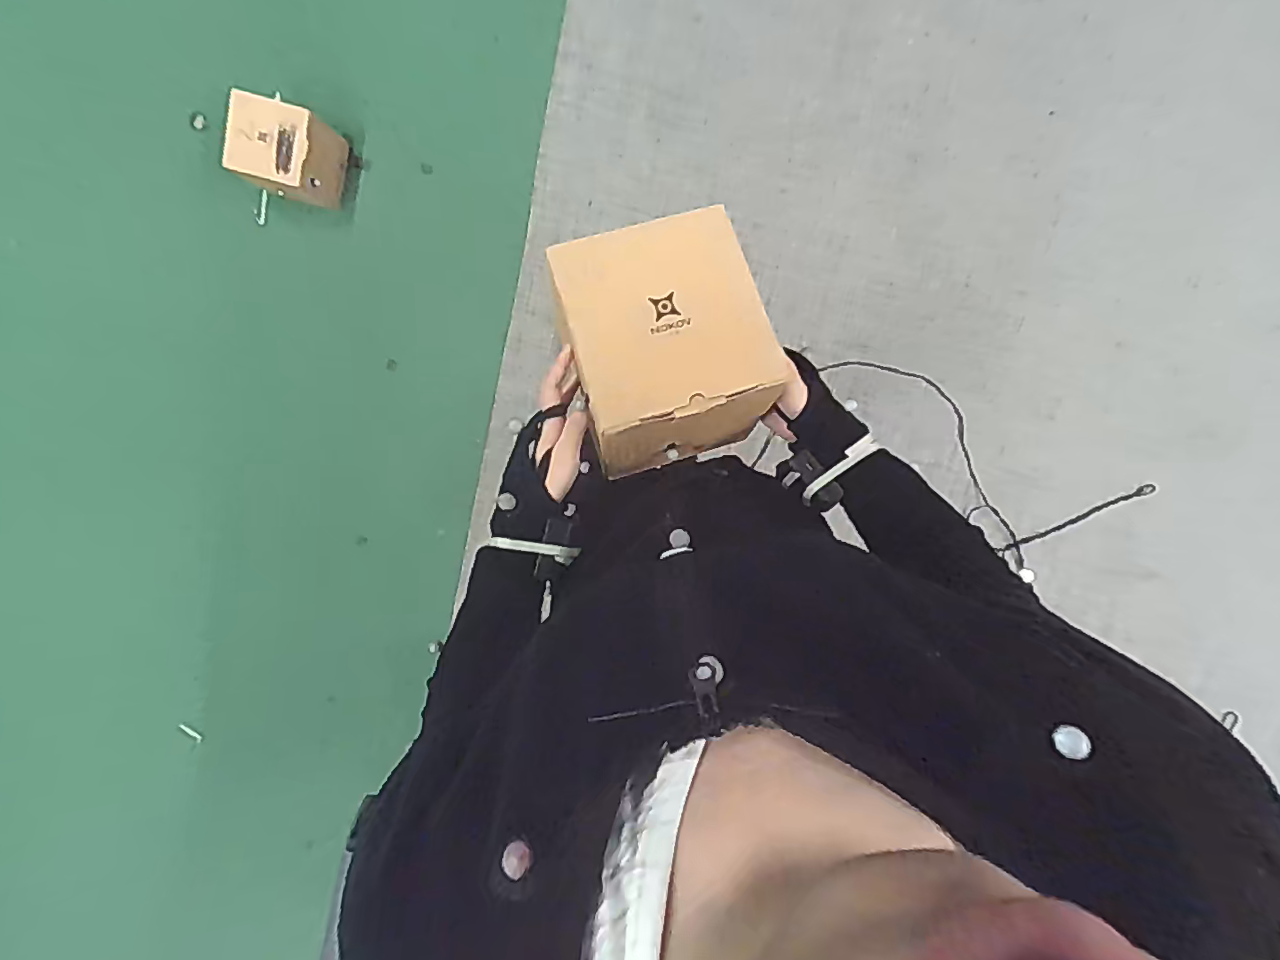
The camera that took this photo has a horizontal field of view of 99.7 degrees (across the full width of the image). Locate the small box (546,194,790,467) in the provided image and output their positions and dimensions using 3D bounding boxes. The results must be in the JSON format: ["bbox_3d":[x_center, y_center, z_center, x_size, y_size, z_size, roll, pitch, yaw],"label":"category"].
[{"bbox_3d":[0.016,-0.131,0.524,0.168,0.176,0.179,-16,79,-6],"label":"small box"}]
